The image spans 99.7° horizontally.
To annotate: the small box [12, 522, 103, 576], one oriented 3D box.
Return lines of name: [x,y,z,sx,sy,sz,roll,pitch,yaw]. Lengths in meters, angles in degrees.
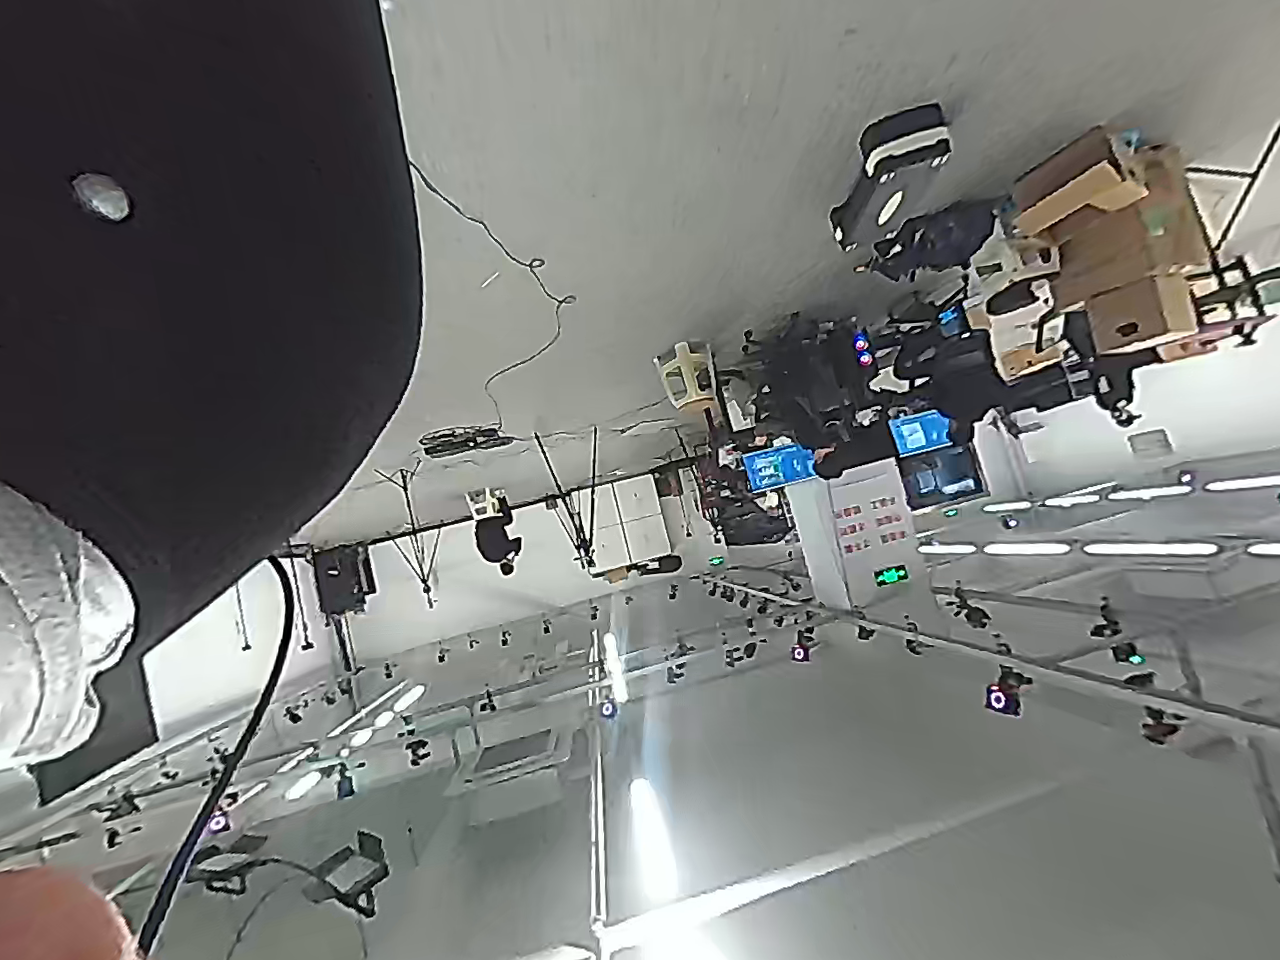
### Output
small box: [-2.252,0.263,2.089,0.179,0.176,0.168,-14,173,-6]
